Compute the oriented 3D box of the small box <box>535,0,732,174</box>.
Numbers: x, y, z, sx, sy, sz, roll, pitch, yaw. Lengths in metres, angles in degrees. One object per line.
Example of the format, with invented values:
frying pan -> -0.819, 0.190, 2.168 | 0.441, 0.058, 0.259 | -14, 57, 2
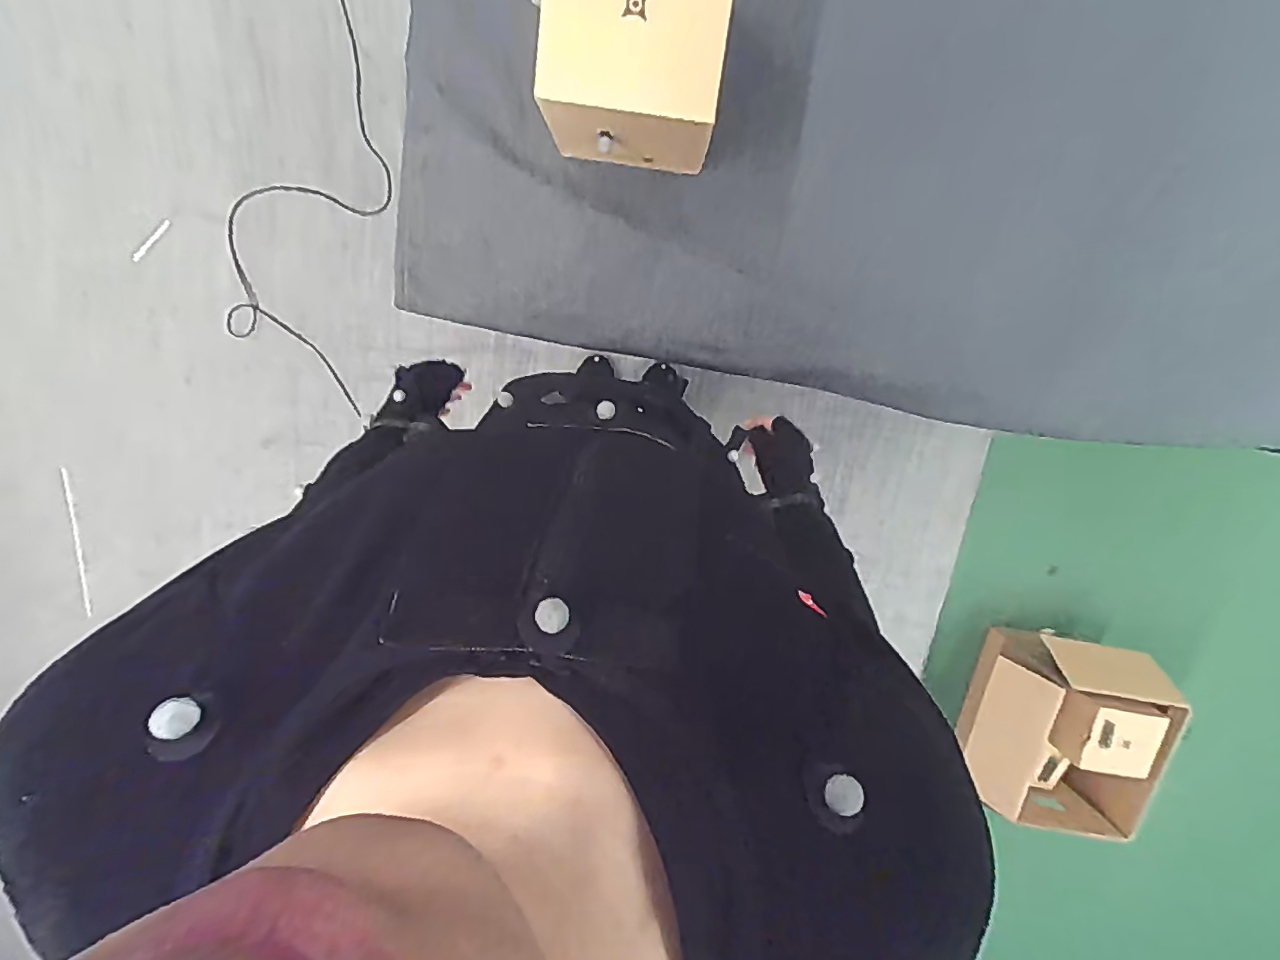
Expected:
small box -> 0.000, -0.430, 0.540 | 0.168, 0.176, 0.179 | 7, 104, -1
